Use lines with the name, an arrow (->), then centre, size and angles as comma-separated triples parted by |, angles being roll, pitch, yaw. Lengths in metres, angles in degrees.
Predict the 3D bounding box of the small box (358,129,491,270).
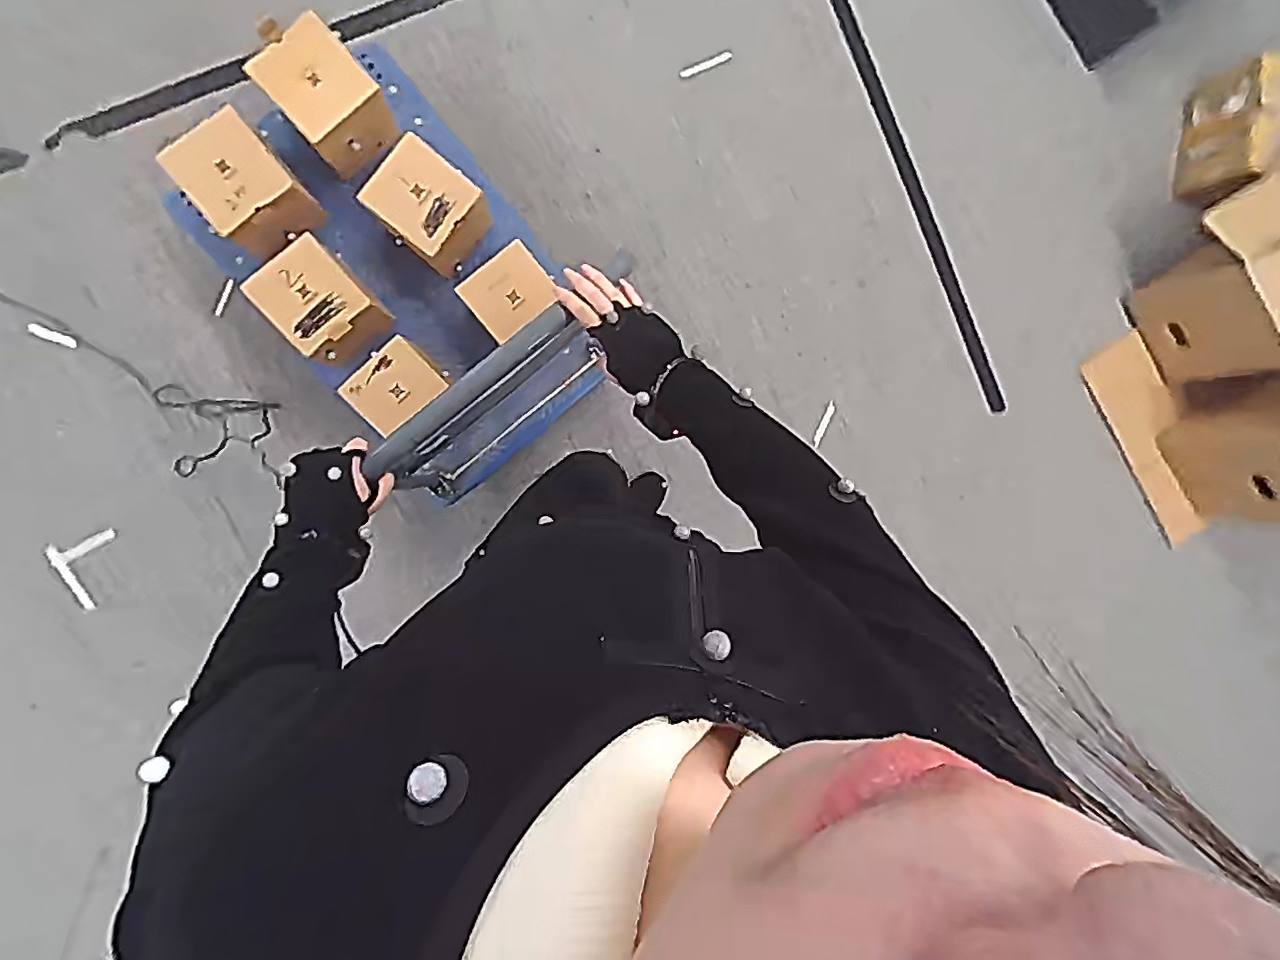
small box -> -0.433, -0.565, 1.124 | 0.179, 0.176, 0.168 | 38, 89, -9

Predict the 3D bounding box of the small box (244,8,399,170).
small box -> -0.619, -0.760, 1.080 | 0.168, 0.176, 0.179 | -43, 99, -2

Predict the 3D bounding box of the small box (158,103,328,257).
small box -> -0.771, -0.580, 1.072 | 0.168, 0.176, 0.179 | -39, 100, -3

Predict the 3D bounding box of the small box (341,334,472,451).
small box -> -0.482, -0.182, 1.150 | 0.168, 0.176, 0.179 | -44, 100, -3

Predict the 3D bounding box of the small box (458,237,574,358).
small box -> -0.259, -0.380, 1.167 | 0.168, 0.176, 0.179 | -40, 99, -3
